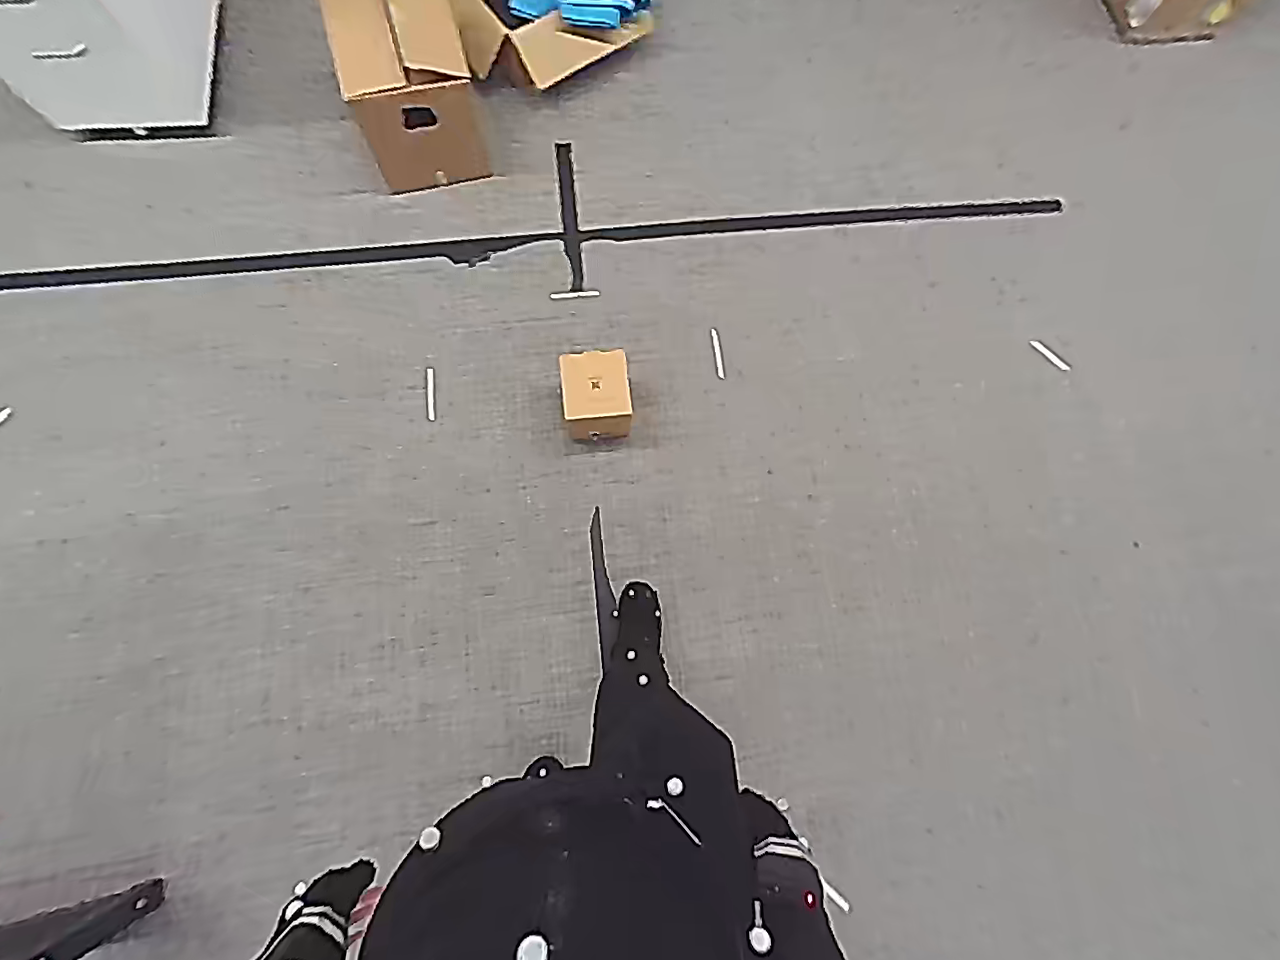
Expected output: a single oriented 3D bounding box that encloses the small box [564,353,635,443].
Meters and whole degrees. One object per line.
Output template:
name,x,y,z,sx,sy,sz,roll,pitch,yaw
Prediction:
small box,-0.106,-0.209,1.408,0.168,0.176,0.179,-6,77,-5
